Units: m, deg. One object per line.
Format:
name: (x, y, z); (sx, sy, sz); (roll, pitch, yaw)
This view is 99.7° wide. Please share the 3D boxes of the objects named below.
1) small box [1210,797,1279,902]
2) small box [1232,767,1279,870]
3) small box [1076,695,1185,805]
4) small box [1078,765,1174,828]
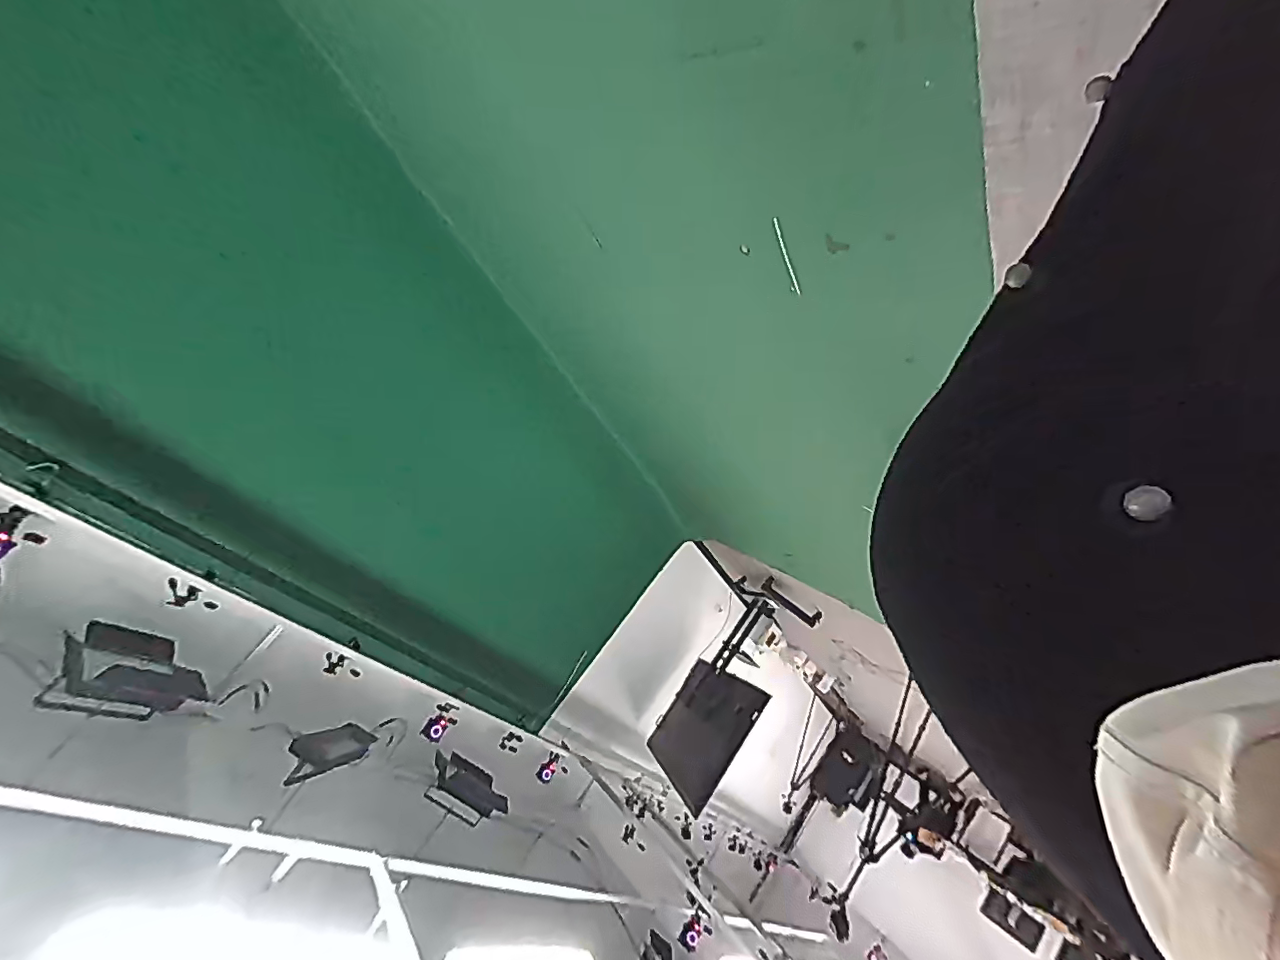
small box: (1.574, 0.928, 1.346); (0.168, 0.176, 0.179); (22, 159, 47)
small box: (1.434, 0.759, 1.164); (0.168, 0.176, 0.179); (22, 159, 47)
small box: (1.257, 0.691, 1.392); (0.168, 0.176, 0.179); (22, 159, 47)
small box: (1.393, 0.850, 1.552); (0.168, 0.176, 0.179); (20, 156, 47)
